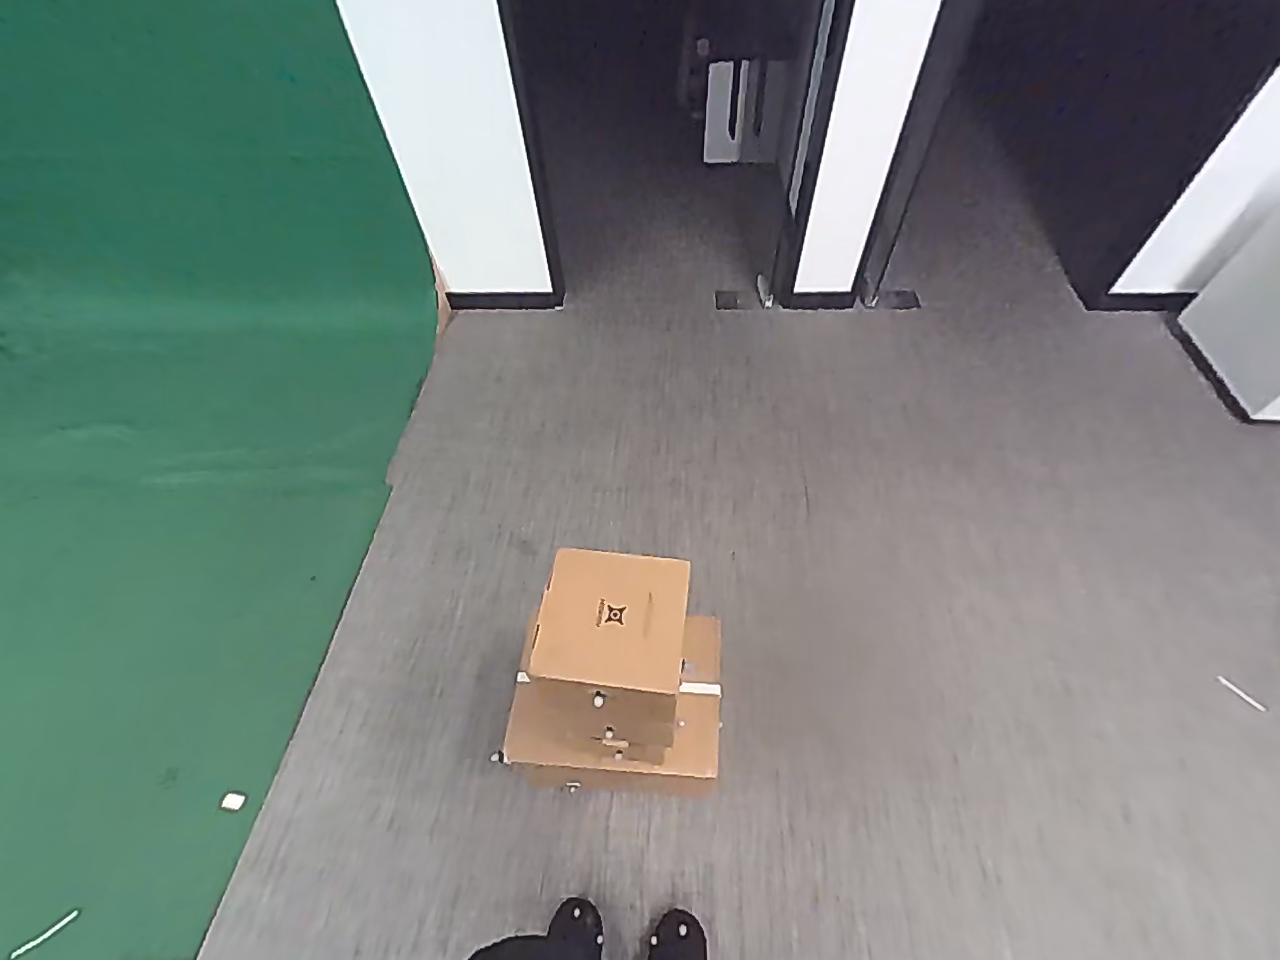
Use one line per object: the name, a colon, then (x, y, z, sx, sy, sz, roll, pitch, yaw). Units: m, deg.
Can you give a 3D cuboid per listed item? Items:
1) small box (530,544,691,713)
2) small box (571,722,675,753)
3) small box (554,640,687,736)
small box: (-0.027, 0.200, 0.715, 0.179, 0.176, 0.168, 4, 56, 6)
small box: (-0.016, 0.385, 0.984, 0.168, 0.176, 0.179, 4, 56, 7)
small box: (-0.019, 0.294, 0.847, 0.179, 0.176, 0.168, 3, 55, 8)
